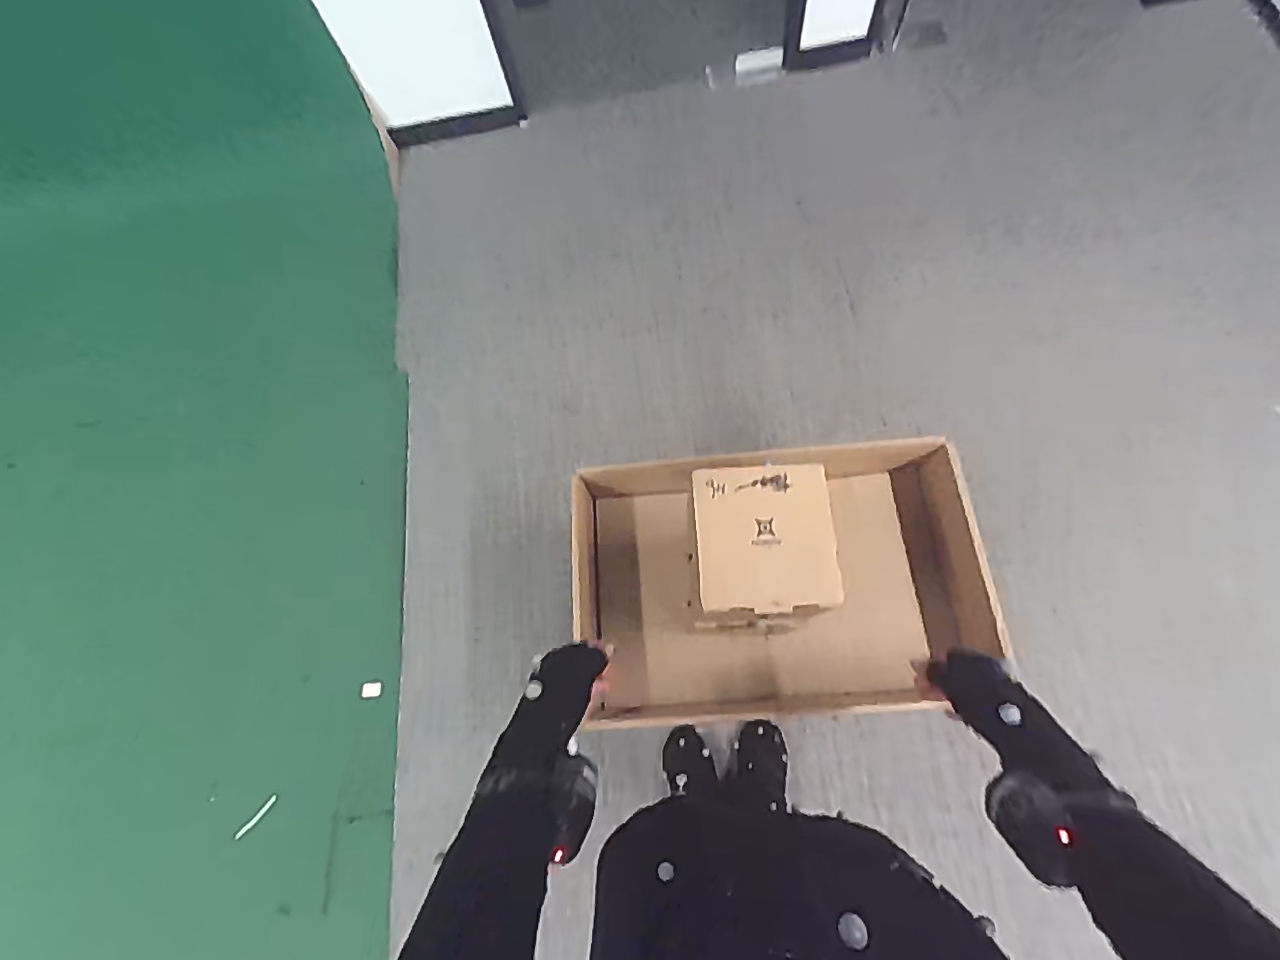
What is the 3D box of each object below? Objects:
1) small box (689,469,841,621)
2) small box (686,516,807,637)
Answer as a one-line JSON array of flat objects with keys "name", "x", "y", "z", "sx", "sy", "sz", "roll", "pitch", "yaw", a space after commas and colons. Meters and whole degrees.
[{"name": "small box", "x": 0.153, "y": 0.095, "z": 0.722, "sx": 0.168, "sy": 0.176, "sz": 0.179, "roll": -2, "pitch": 71, "yaw": 2}, {"name": "small box", "x": 0.161, "y": 0.159, "z": 0.873, "sx": 0.168, "sy": 0.176, "sz": 0.179, "roll": -2, "pitch": 69, "yaw": 2}]
